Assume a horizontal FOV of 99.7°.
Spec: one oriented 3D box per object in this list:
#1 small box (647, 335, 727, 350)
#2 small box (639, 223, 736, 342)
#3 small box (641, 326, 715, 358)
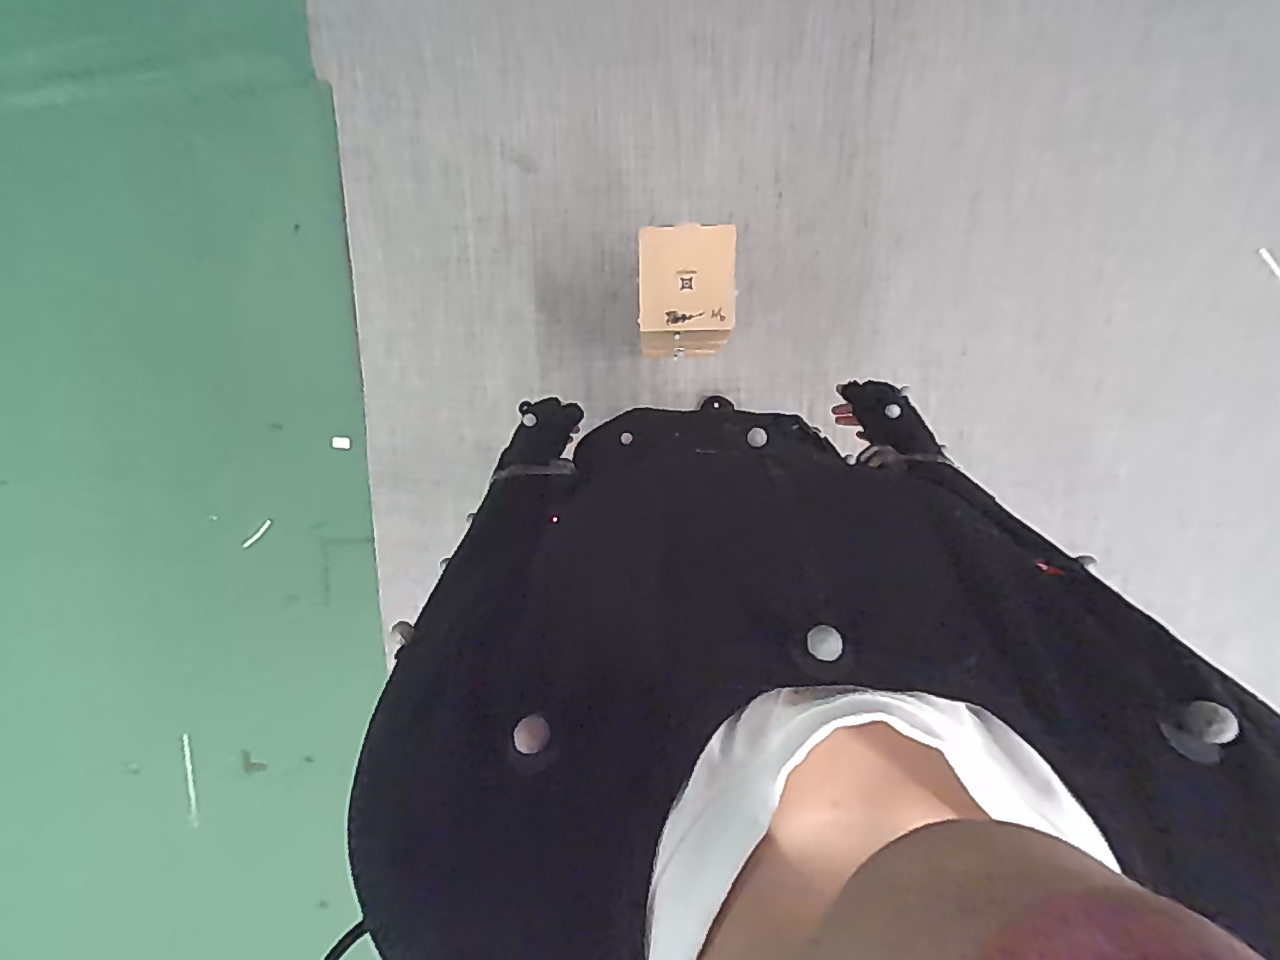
[{"bbox_3d":[0.100,-0.377,1.167,0.168,0.176,0.179,0,99,4],"label":"small box"},{"bbox_3d":[0.085,-0.358,1.005,0.168,0.176,0.179,0,97,4],"label":"small box"},{"bbox_3d":[0.094,-0.391,1.328,0.179,0.176,0.168,1,98,4],"label":"small box"}]
